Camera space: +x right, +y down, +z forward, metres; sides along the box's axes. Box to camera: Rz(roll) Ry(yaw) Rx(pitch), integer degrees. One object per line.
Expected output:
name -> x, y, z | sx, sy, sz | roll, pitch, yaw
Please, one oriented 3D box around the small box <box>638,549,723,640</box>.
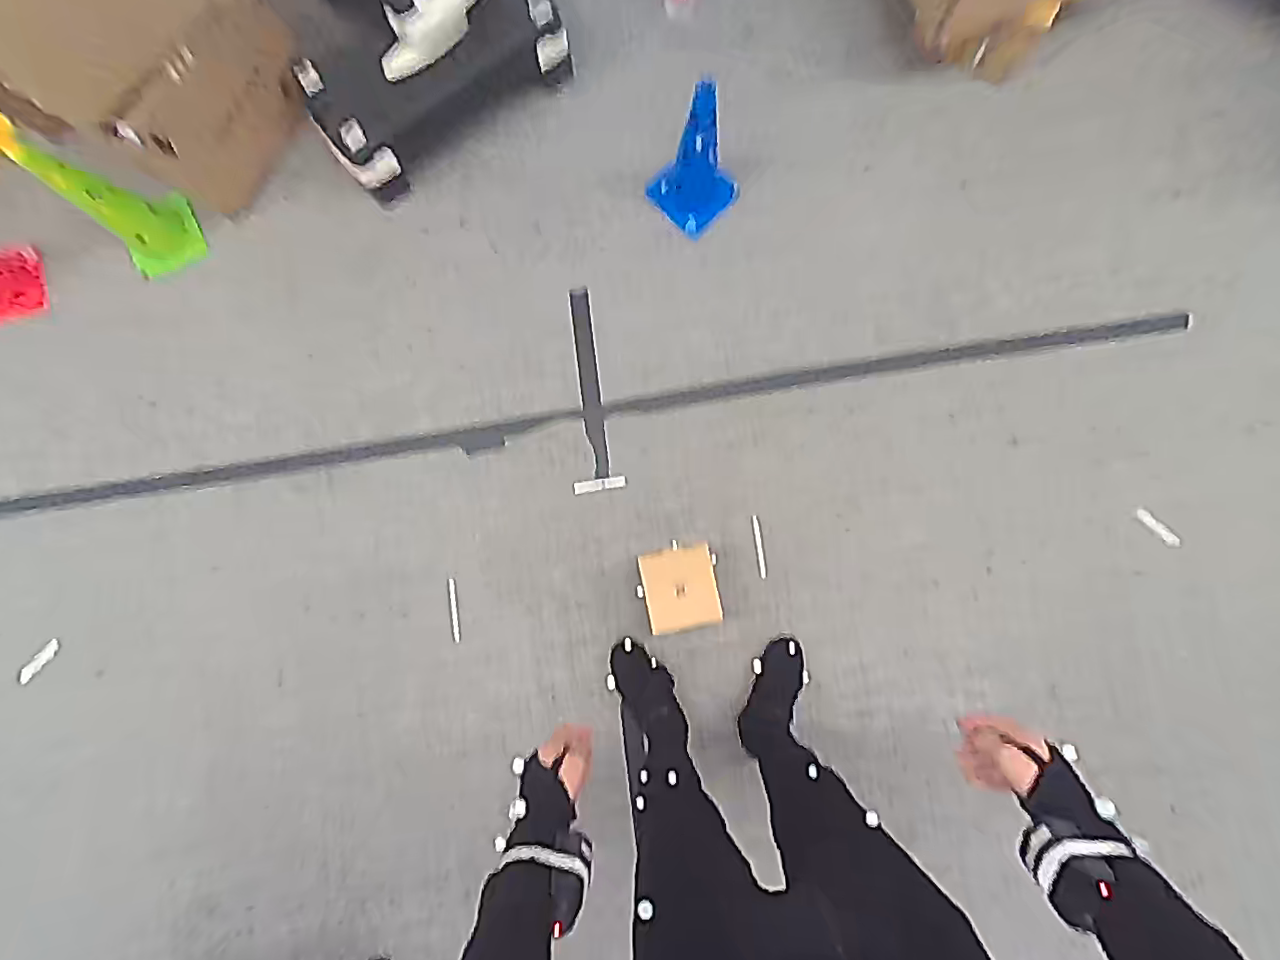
small box -> 0.095, 0.268, 1.302 | 0.168, 0.176, 0.179 | -12, 83, 0
